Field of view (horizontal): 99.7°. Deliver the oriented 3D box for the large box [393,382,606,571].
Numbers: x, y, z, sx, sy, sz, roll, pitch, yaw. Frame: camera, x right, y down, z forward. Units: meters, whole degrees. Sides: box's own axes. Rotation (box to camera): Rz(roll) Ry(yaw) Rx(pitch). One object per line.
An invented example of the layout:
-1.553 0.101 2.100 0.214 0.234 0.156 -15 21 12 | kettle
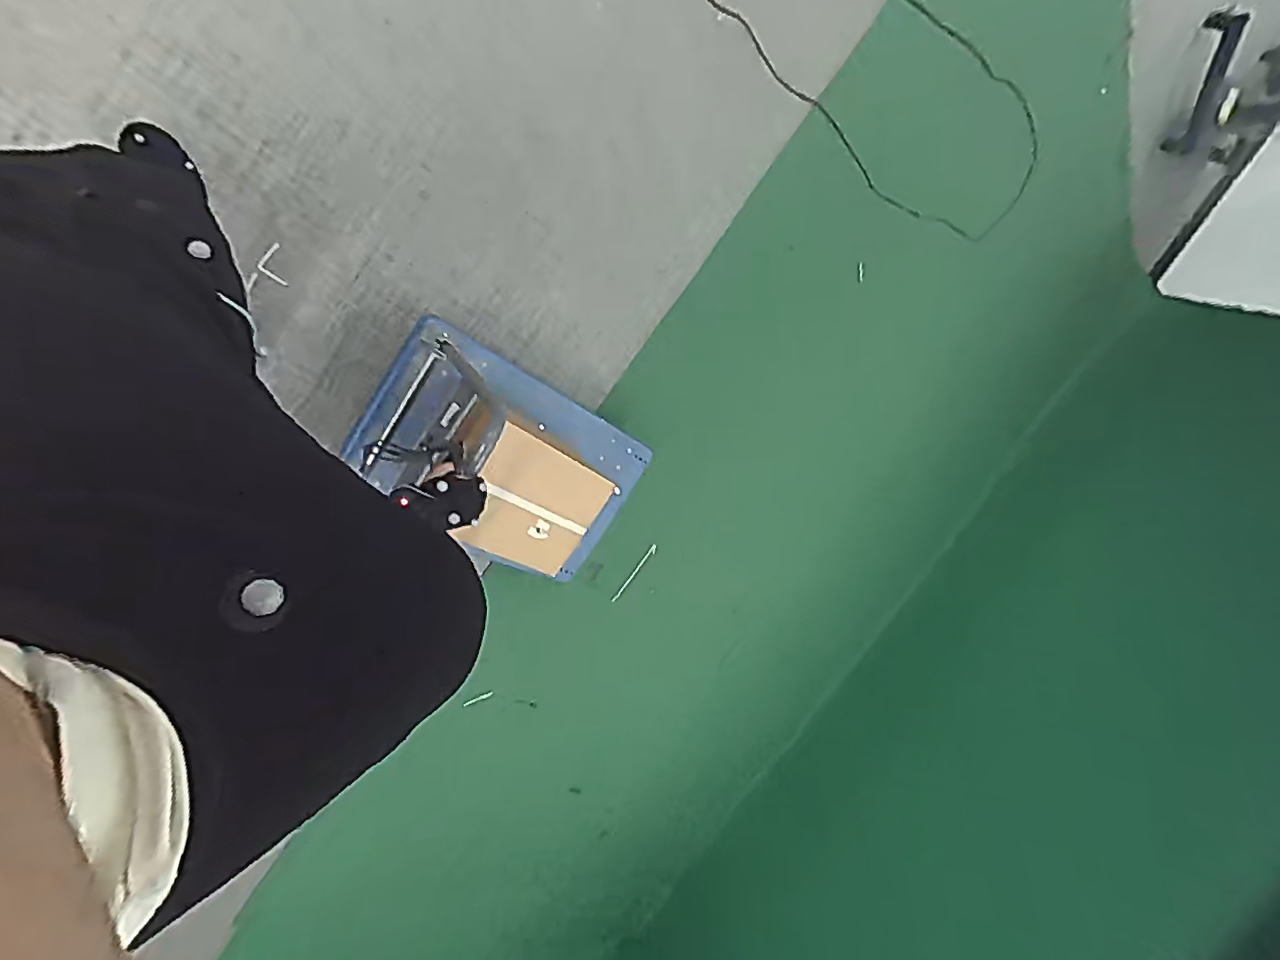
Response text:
-0.382 -0.007 1.465 0.408 0.320 0.320 32 95 -43 | large box
